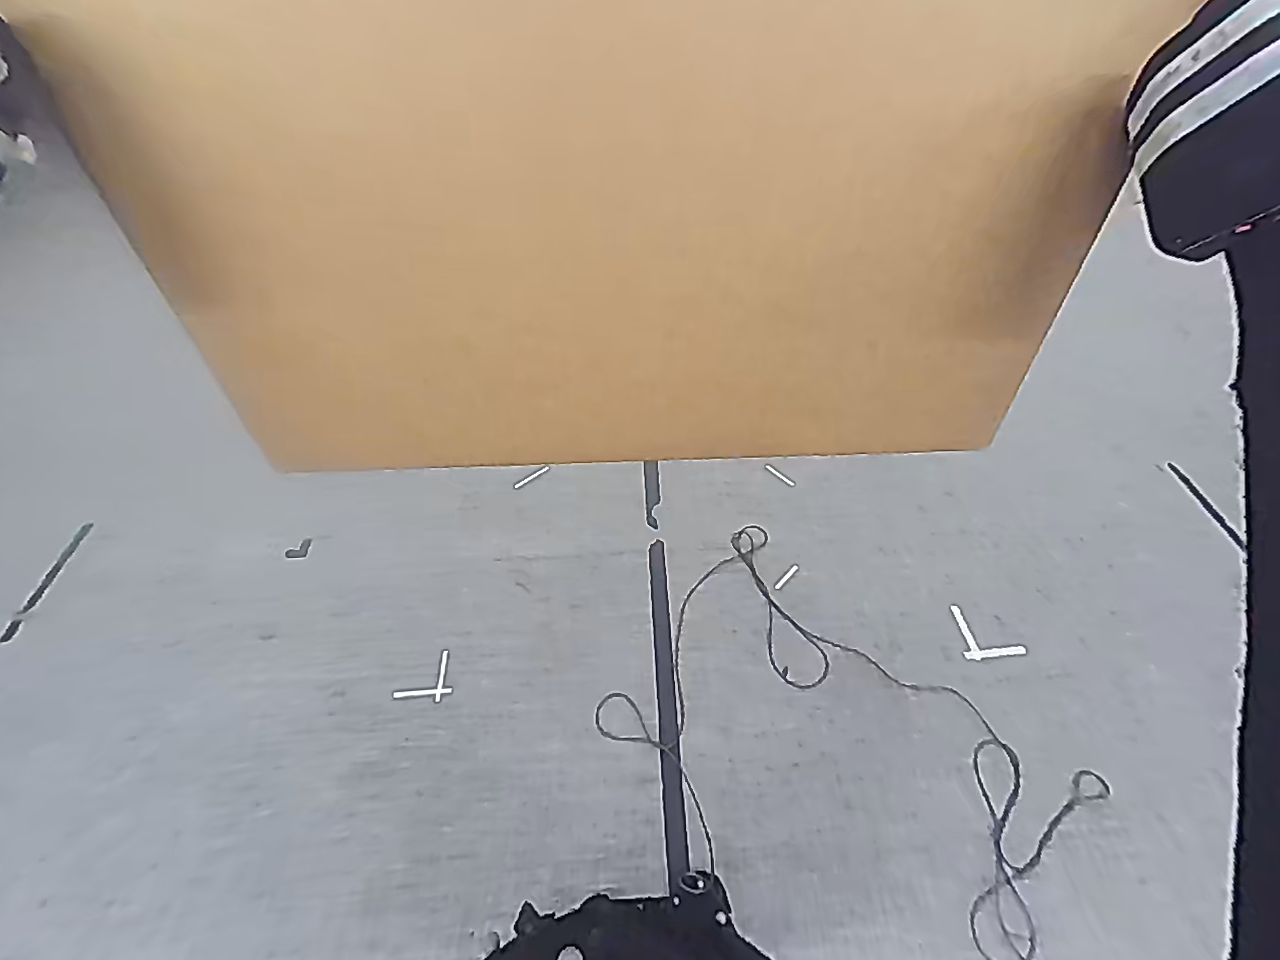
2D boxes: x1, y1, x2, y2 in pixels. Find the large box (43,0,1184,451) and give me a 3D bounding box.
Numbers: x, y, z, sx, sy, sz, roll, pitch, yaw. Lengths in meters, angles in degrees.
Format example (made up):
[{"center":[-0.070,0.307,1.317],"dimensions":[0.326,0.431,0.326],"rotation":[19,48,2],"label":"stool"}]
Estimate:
[{"center":[-0.009,-0.231,0.322],"dimensions":[0.408,0.320,0.320],"rotation":[-1,42,0],"label":"large box"}]
